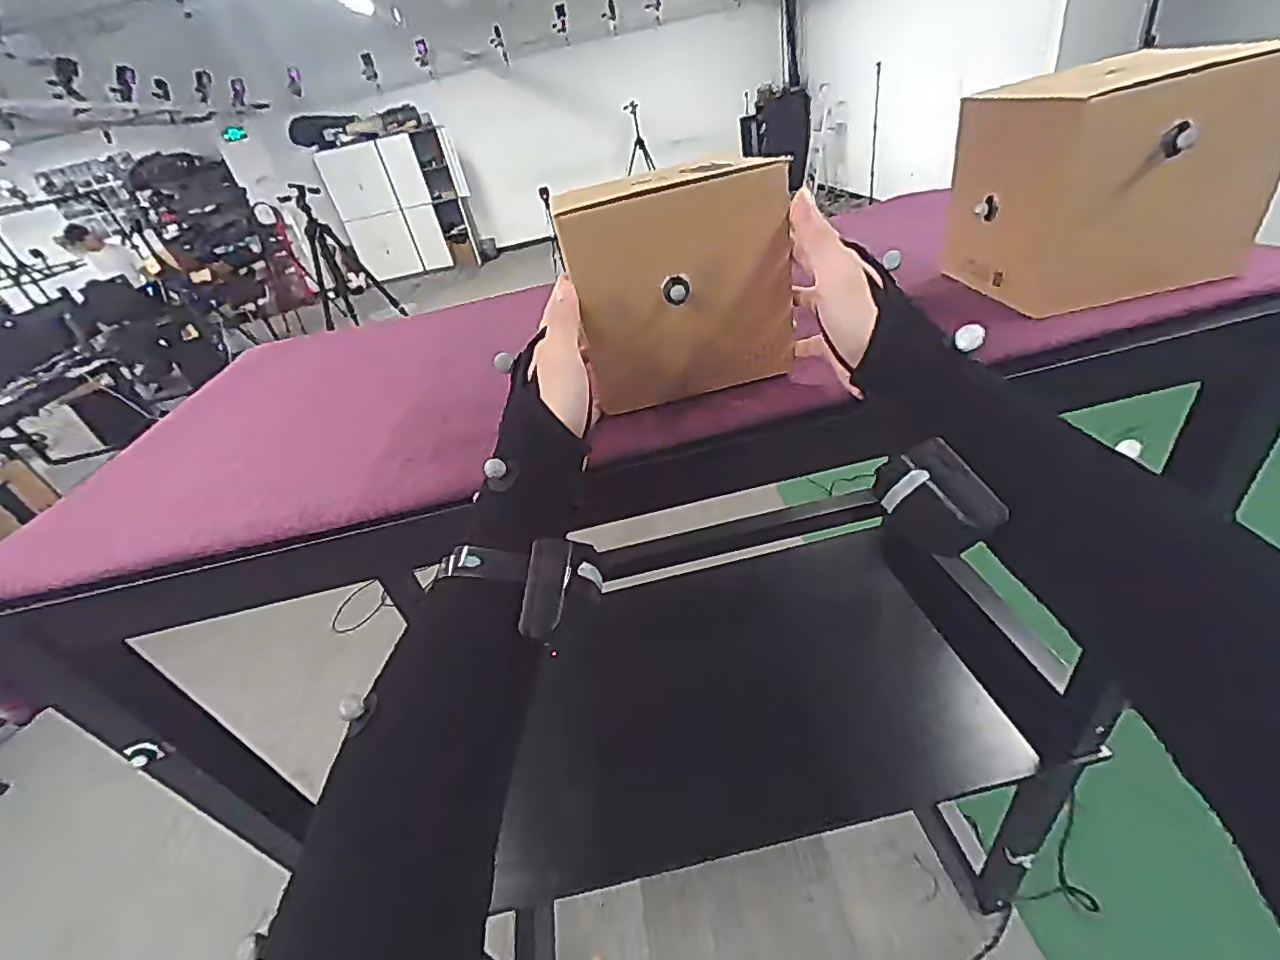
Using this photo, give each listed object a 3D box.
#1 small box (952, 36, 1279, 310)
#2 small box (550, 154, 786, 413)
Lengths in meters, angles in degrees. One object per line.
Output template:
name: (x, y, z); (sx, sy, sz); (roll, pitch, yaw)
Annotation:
small box: (0.408, -0.269, 0.489); (0.179, 0.176, 0.168); (-11, 35, 5)
small box: (0.025, -0.183, 0.497); (0.179, 0.176, 0.168); (-15, 33, 0)
